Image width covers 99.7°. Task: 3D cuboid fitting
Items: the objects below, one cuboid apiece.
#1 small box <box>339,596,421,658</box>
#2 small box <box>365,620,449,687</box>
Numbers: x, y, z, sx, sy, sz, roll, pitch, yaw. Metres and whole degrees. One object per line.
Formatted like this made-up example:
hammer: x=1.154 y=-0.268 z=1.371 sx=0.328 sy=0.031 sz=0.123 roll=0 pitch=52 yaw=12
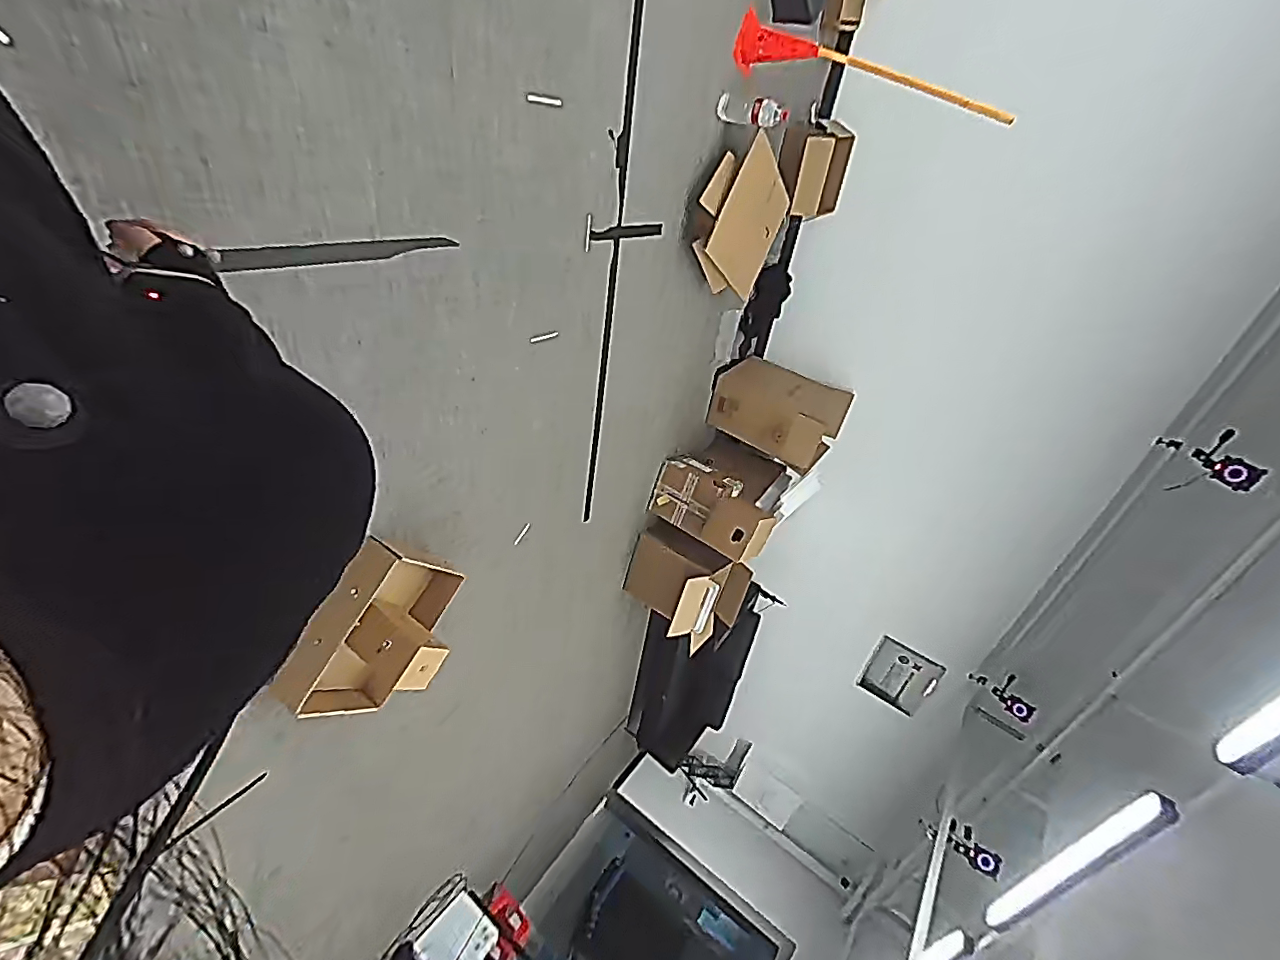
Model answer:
small box: x=-0.965 y=0.551 z=2.007 sx=0.168 sy=0.176 sz=0.179 roll=-58 pitch=155 yaw=-10
small box: x=-0.835 y=0.622 z=1.941 sx=0.168 sy=0.176 sz=0.179 roll=-59 pitch=155 yaw=-9
